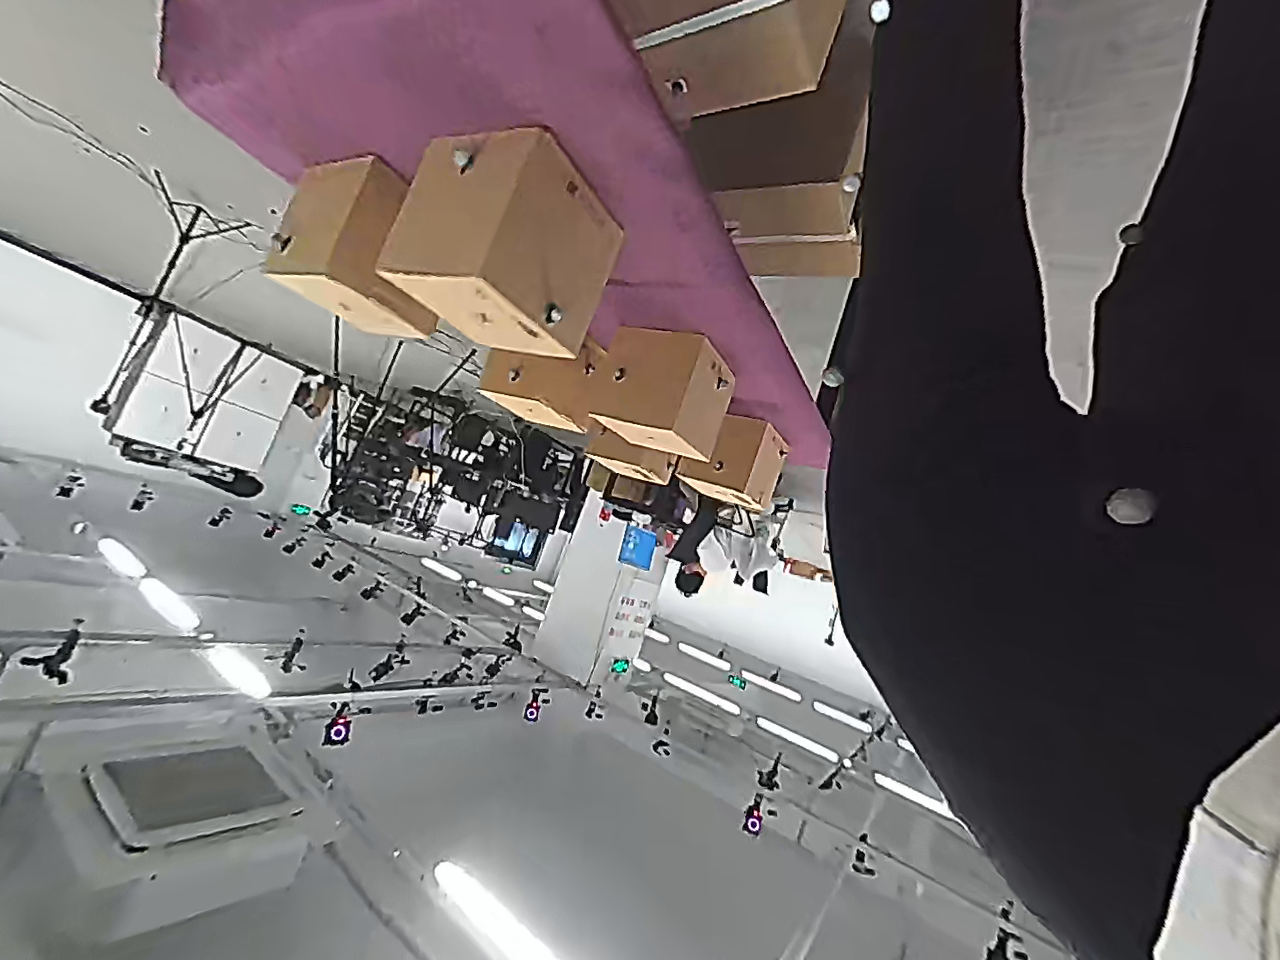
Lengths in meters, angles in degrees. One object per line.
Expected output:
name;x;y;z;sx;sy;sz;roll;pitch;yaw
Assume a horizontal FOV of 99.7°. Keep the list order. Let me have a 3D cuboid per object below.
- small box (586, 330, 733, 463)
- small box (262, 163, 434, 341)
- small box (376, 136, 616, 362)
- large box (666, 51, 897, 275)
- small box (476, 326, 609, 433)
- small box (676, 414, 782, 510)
small box;0.040;-0.149;0.954;0.179;0.176;0.168;16;173;31
small box;-0.390;-0.321;0.778;0.179;0.176;0.168;14;173;31
small box;-0.156;-0.260;0.623;0.179;0.176;0.168;18;174;31
large box;0.340;-0.709;1.272;0.408;0.320;0.320;16;172;33
small box;-0.189;-0.214;1.091;0.179;0.176;0.168;14;171;31
small box;0.214;-0.046;1.255;0.179;0.176;0.168;17;172;34
